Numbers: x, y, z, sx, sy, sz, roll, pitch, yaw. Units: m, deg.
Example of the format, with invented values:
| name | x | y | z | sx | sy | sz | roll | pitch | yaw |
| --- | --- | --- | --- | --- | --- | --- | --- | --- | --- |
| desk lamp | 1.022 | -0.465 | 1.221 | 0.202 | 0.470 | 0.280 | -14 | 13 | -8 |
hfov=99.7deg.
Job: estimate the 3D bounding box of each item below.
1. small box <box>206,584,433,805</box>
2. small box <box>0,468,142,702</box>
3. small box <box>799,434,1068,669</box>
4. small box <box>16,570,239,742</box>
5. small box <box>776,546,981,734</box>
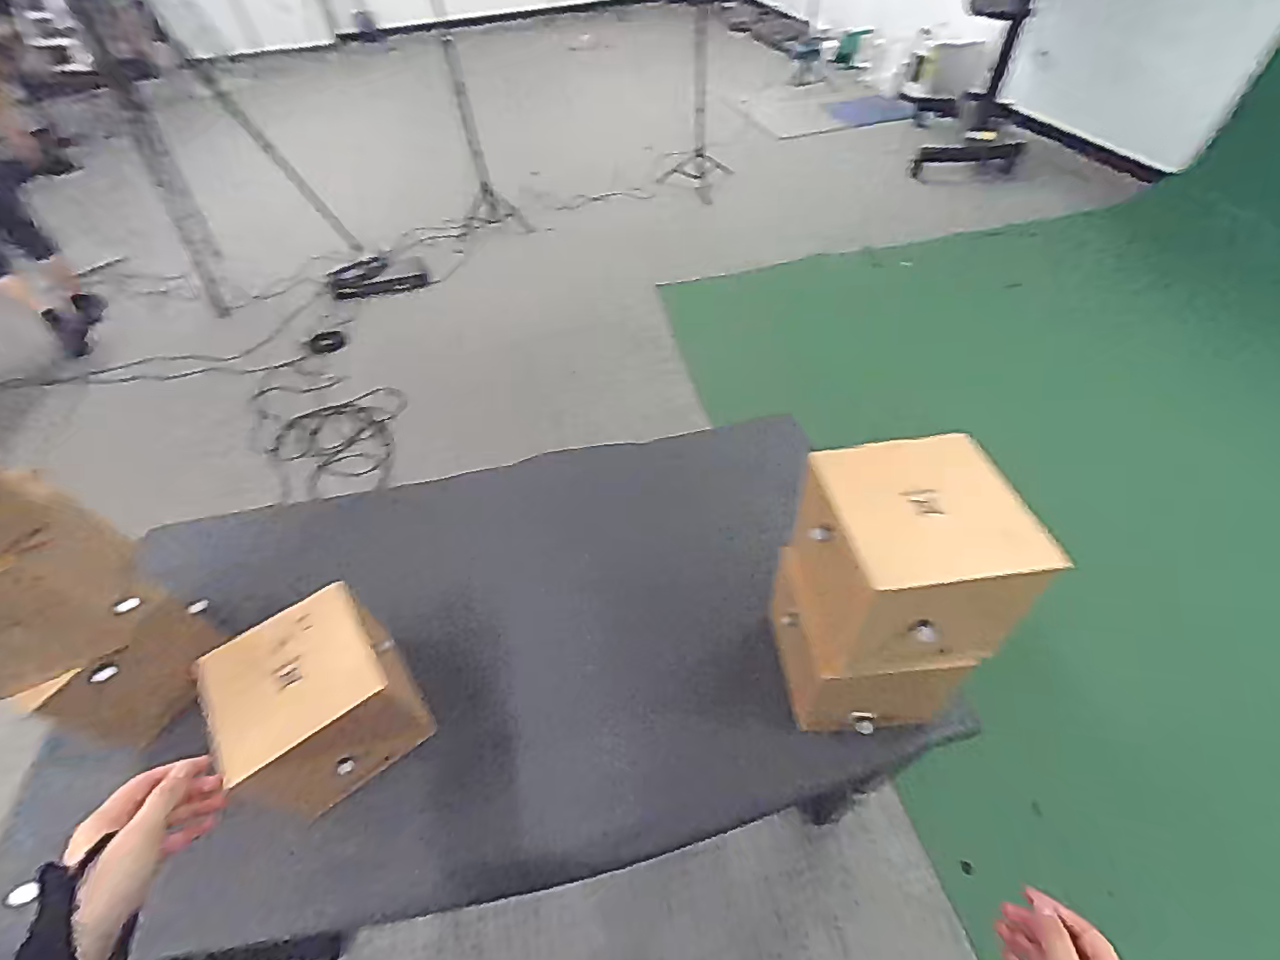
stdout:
| name | x | y | z | sx | sy | sz | roll | pitch | yaw |
| --- | --- | --- | --- | --- | --- | --- | --- | --- | --- |
| small box | -0.385 | 0.270 | 0.671 | 0.168 | 0.176 | 0.179 | -31 | 54 | -22 |
| small box | -0.713 | 0.124 | 0.607 | 0.179 | 0.176 | 0.168 | -27 | 54 | -17 |
| small box | 0.275 | 0.079 | 0.560 | 0.168 | 0.176 | 0.179 | -8 | 45 | 0 |
| small box | -0.704 | 0.227 | 0.735 | 0.179 | 0.176 | 0.168 | 20 | 54 | 20 |
| small box | 0.275 | 0.194 | 0.676 | 0.168 | 0.176 | 0.179 | -6 | 47 | 2 |
